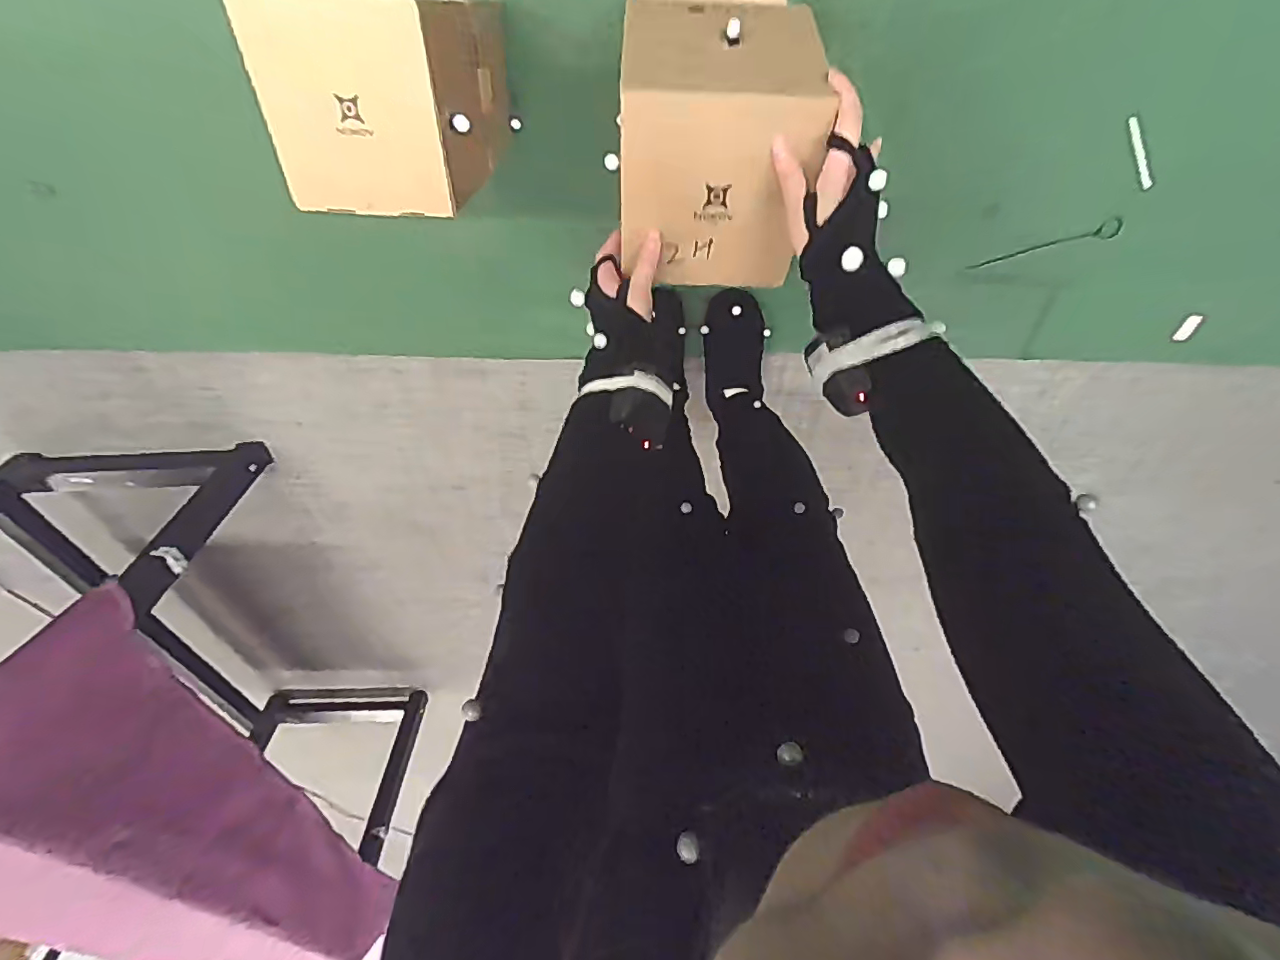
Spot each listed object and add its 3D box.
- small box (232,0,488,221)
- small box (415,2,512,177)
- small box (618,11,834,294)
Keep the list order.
[{"bbox_3d":[-0.271,-0.396,0.575,0.168,0.176,0.179,3,131,-1],"label":"small box"},{"bbox_3d":[-0.269,-0.505,0.696,0.179,0.176,0.168,3,131,0],"label":"small box"},{"bbox_3d":[0.064,-0.304,0.513,0.168,0.176,0.179,3,151,0],"label":"small box"}]
